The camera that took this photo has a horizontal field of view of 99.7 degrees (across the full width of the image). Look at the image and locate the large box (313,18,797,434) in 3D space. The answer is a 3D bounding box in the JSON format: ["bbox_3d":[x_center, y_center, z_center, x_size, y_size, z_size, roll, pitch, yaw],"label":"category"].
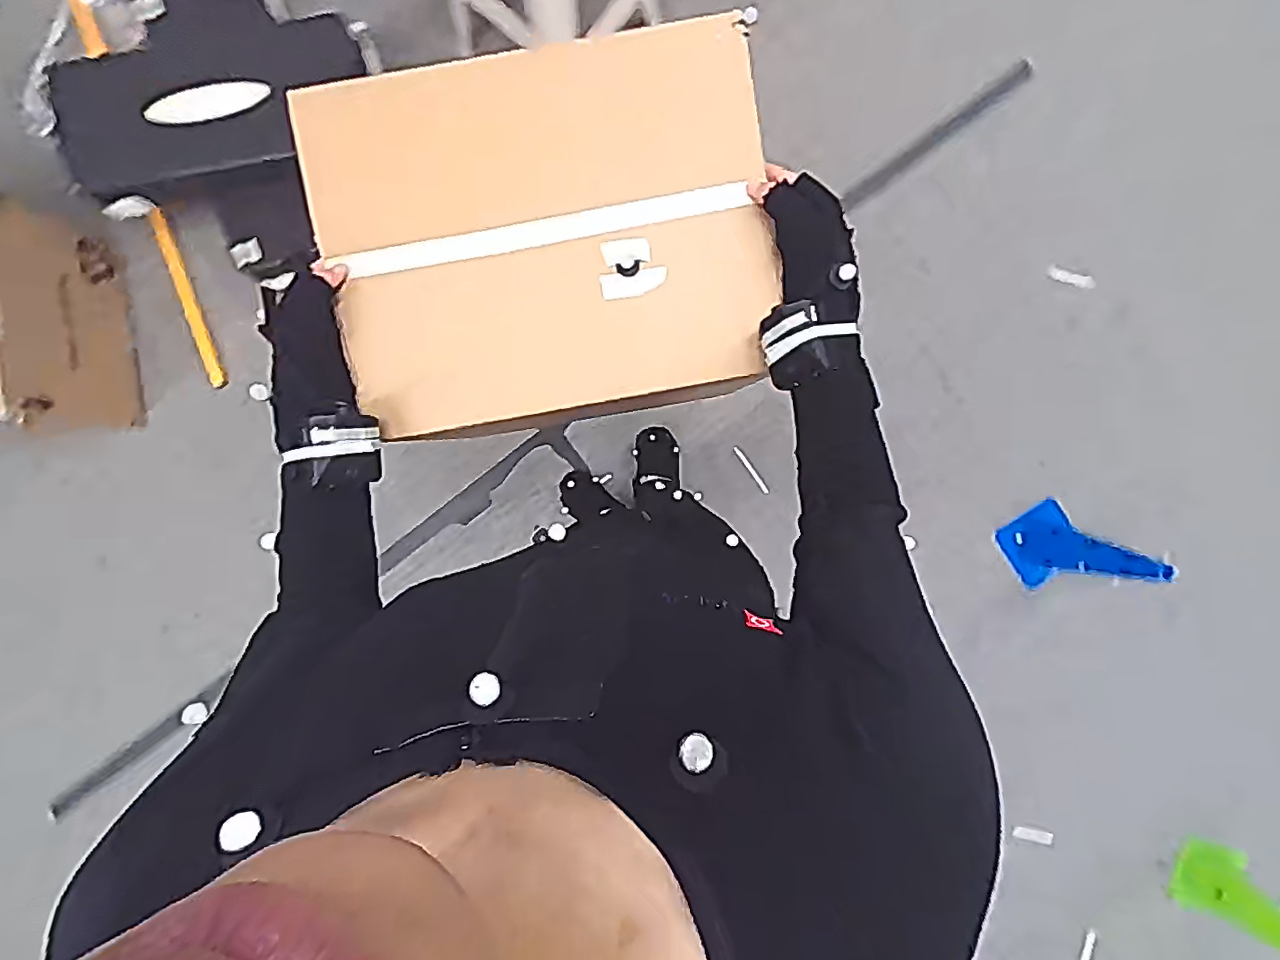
[{"bbox_3d":[-0.077,-0.240,0.640,0.408,0.320,0.320,-9,95,-1],"label":"large box"}]

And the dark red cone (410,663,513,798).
[{"bbox_3d":[-0.465,0.633,1.313,0.201,0.394,0.202,-31,94,0],"label":"dark red cone"}]

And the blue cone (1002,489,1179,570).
[{"bbox_3d":[1.134,0.153,1.356,0.192,0.380,0.193,-34,94,0],"label":"blue cone"}]

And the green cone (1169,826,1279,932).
[{"bbox_3d":[1.683,1.140,1.424,0.200,0.368,0.202,15,92,-3],"label":"green cone"}]
